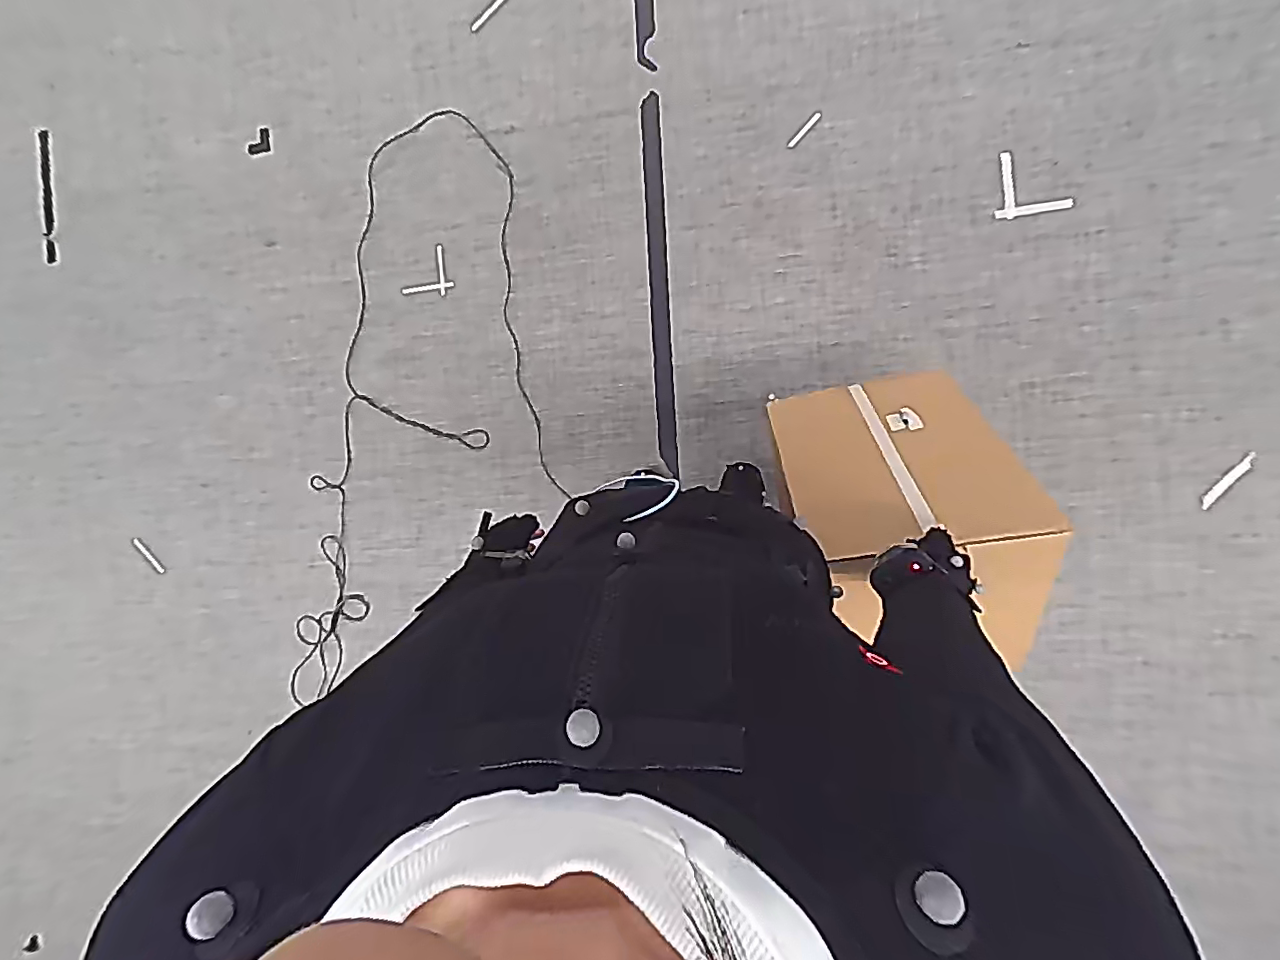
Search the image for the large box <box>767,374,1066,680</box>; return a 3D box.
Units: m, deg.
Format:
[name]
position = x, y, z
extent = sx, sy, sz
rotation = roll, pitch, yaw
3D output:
[large box]
position = 0.420, 0.072, 0.932
extent = 0.320, 0.408, 0.320
rotation = -9, 128, 9
